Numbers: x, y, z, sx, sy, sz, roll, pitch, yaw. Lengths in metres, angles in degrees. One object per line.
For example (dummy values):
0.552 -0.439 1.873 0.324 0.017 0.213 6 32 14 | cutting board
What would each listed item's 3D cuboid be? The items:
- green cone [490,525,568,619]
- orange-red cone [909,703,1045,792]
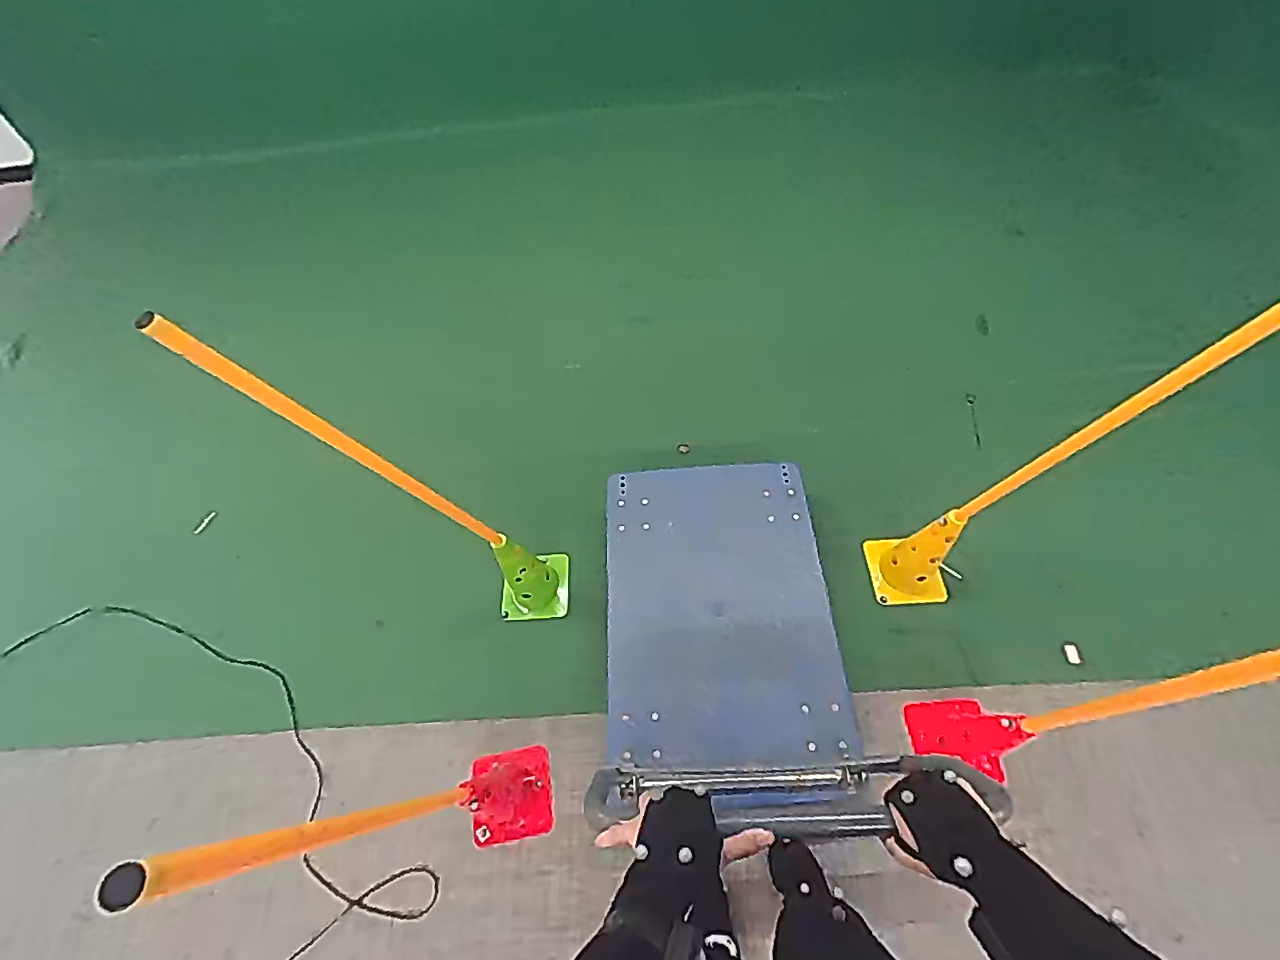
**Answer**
-0.331 0.226 1.482 0.200 0.368 0.202 -5 58 3 | green cone
0.771 0.567 1.190 0.198 0.360 0.199 -4 58 2 | orange-red cone
